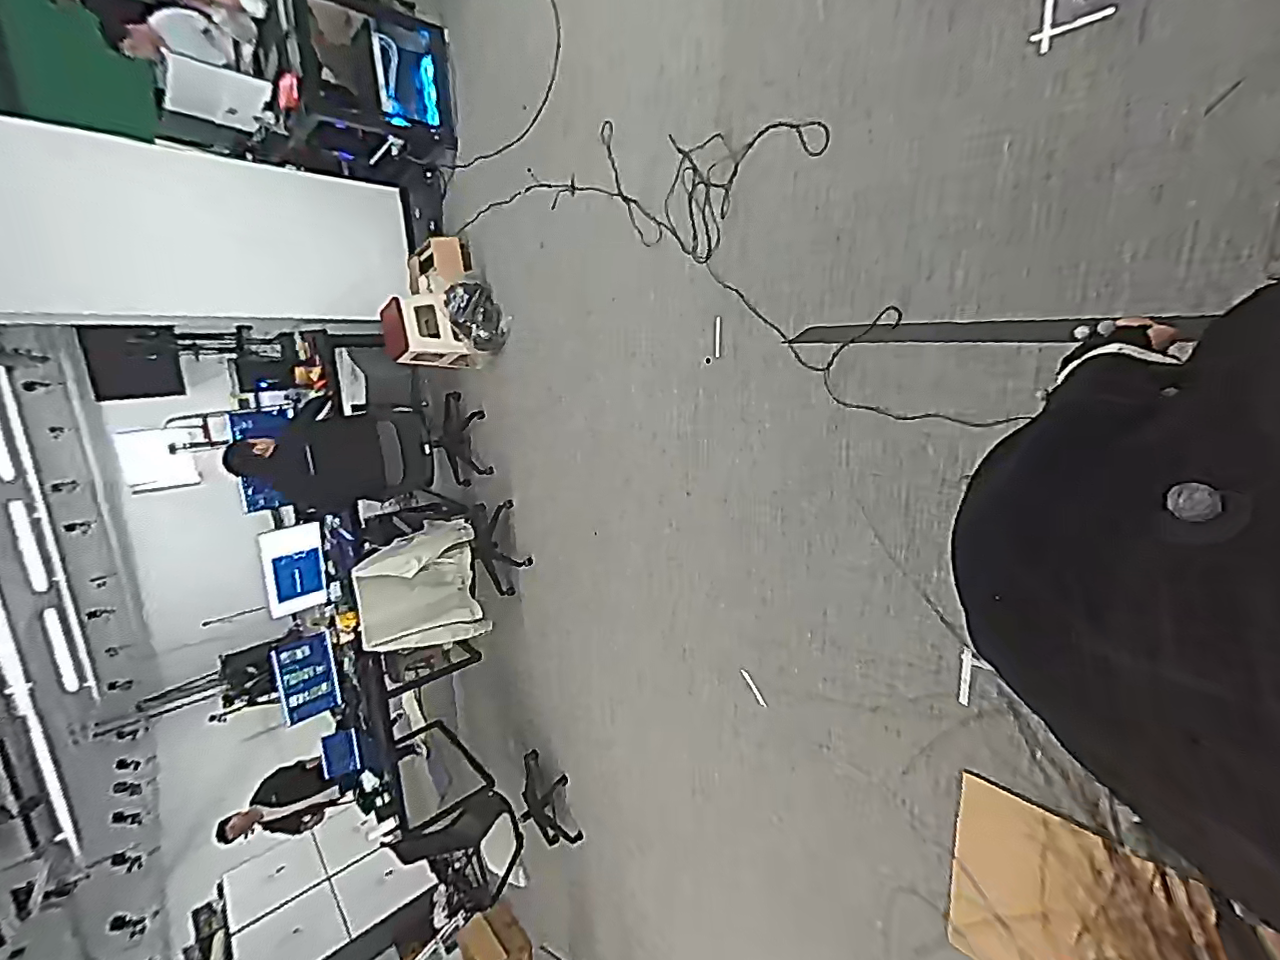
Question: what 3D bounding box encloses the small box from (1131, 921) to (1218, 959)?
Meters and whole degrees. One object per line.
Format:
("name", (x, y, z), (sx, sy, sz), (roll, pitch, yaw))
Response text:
("small box", (1.180, 1.133, 1.179), (0.168, 0.176, 0.179), (9, 107, 48))
